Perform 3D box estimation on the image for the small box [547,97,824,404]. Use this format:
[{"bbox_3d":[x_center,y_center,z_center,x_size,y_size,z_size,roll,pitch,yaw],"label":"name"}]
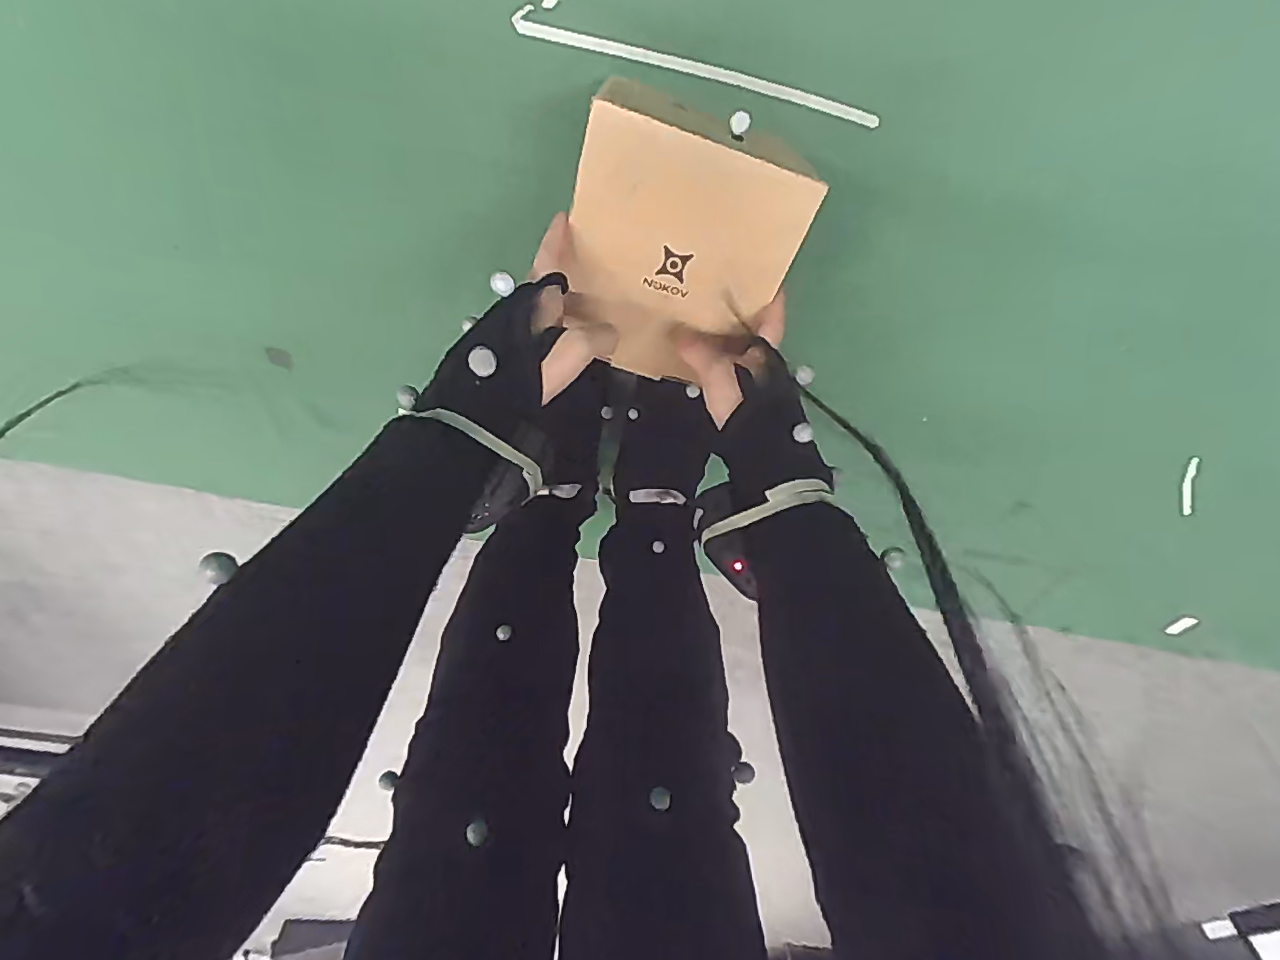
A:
[{"bbox_3d":[0.026,-0.200,0.468,0.168,0.176,0.179,14,131,-10],"label":"small box"}]
